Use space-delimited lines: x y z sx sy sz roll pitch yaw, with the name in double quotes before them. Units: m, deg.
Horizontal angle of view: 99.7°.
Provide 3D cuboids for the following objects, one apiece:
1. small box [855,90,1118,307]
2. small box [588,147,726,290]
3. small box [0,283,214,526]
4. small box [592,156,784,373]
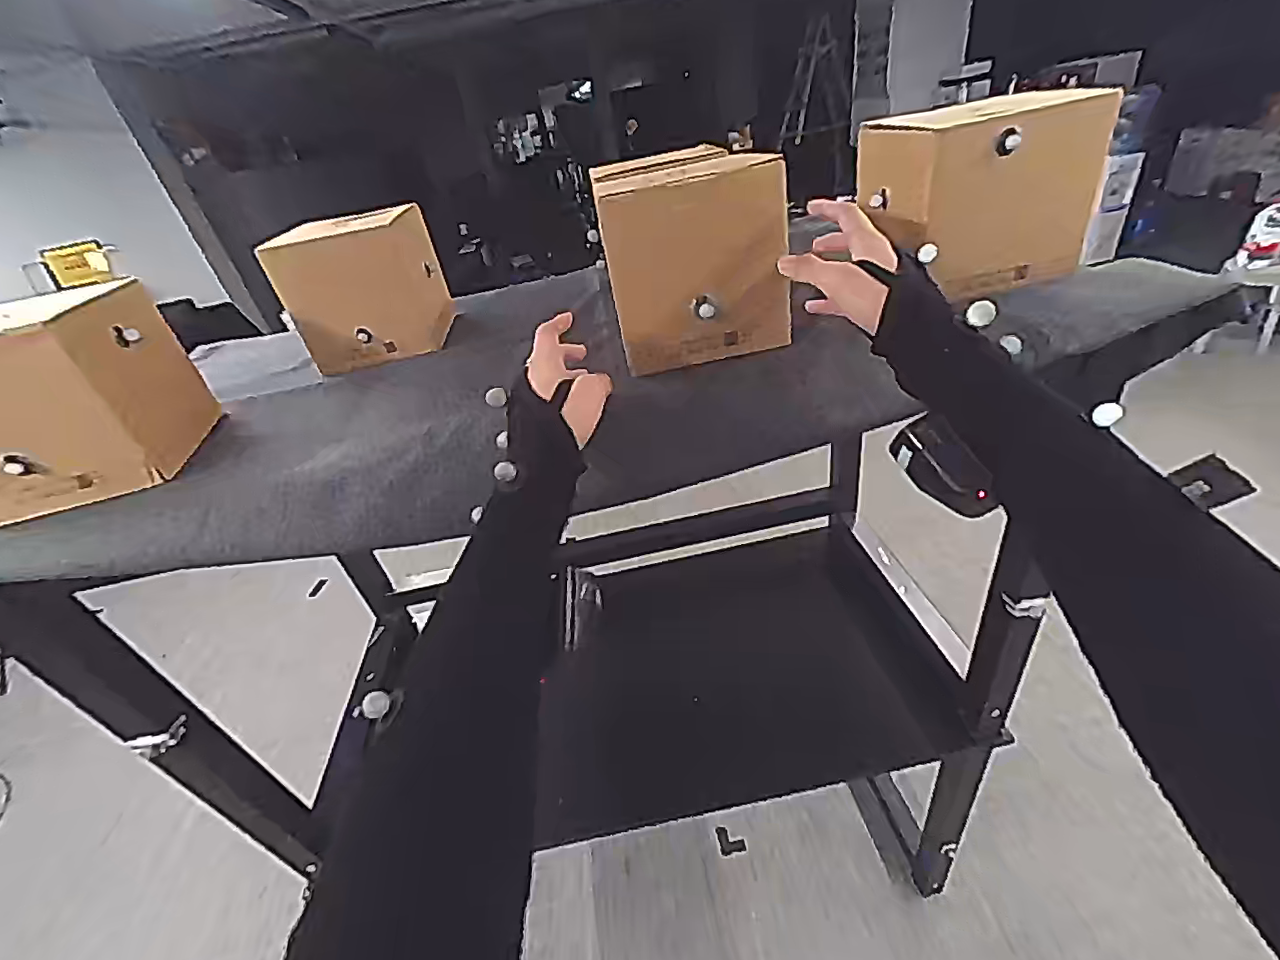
"small box" 0.346 -0.301 0.587 0.168 0.176 0.179 -11 33 3
"small box" 0.027 -0.367 0.782 0.179 0.176 0.168 -11 33 1
"small box" -0.582 -0.081 0.546 0.168 0.176 0.179 -17 36 -9
"small box" 0.046 -0.230 0.573 0.168 0.176 0.179 -12 32 1
